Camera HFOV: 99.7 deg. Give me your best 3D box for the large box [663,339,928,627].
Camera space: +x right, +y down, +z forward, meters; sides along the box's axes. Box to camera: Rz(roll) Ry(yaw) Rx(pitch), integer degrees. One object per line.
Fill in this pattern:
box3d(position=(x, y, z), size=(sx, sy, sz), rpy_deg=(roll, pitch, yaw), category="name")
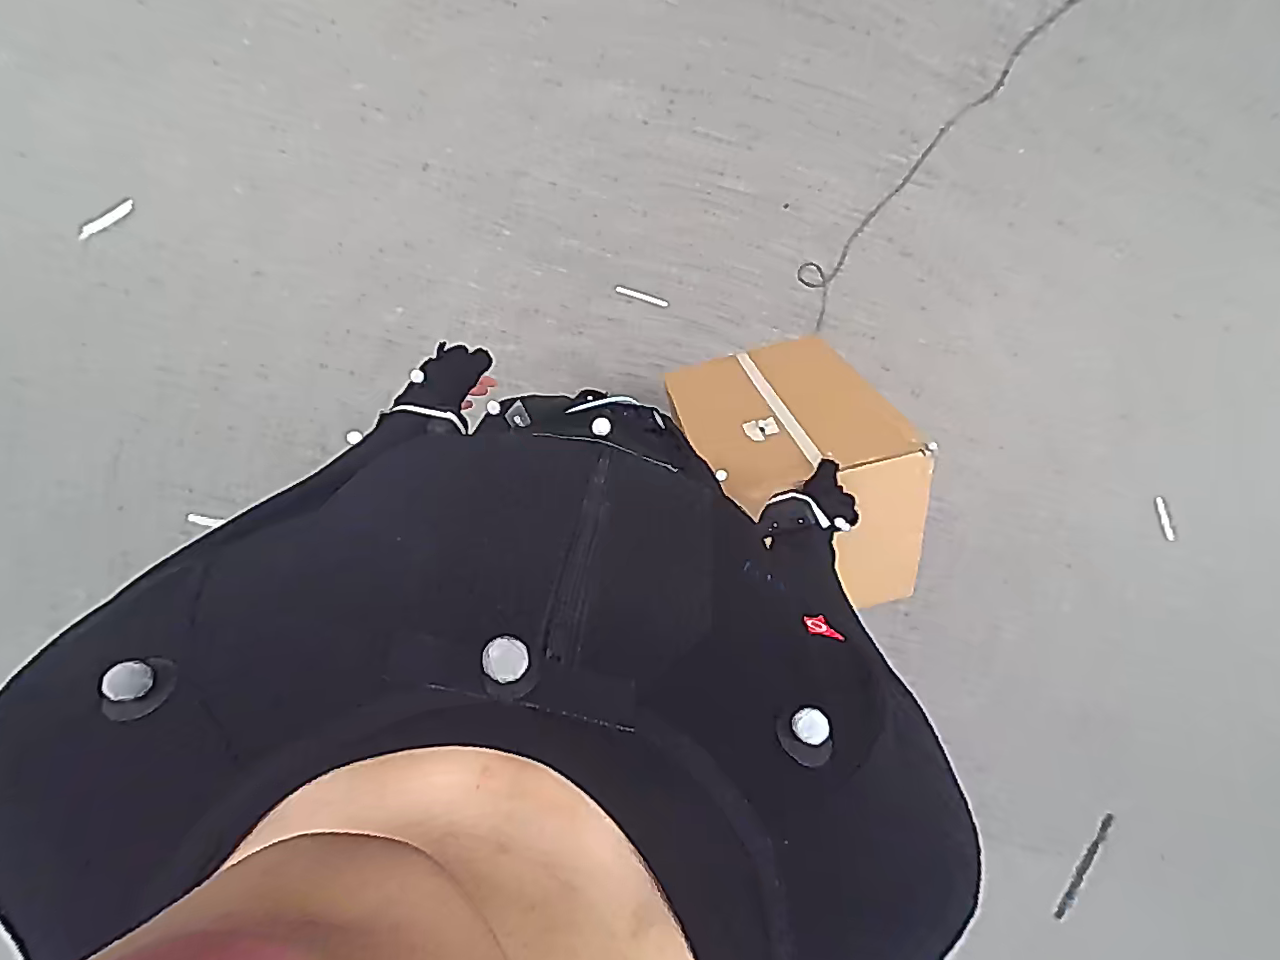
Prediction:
box3d(position=(0.250, -0.009, 0.995), size=(0.320, 0.408, 0.320), rpy_deg=(-14, 128, 1), category="large box")
